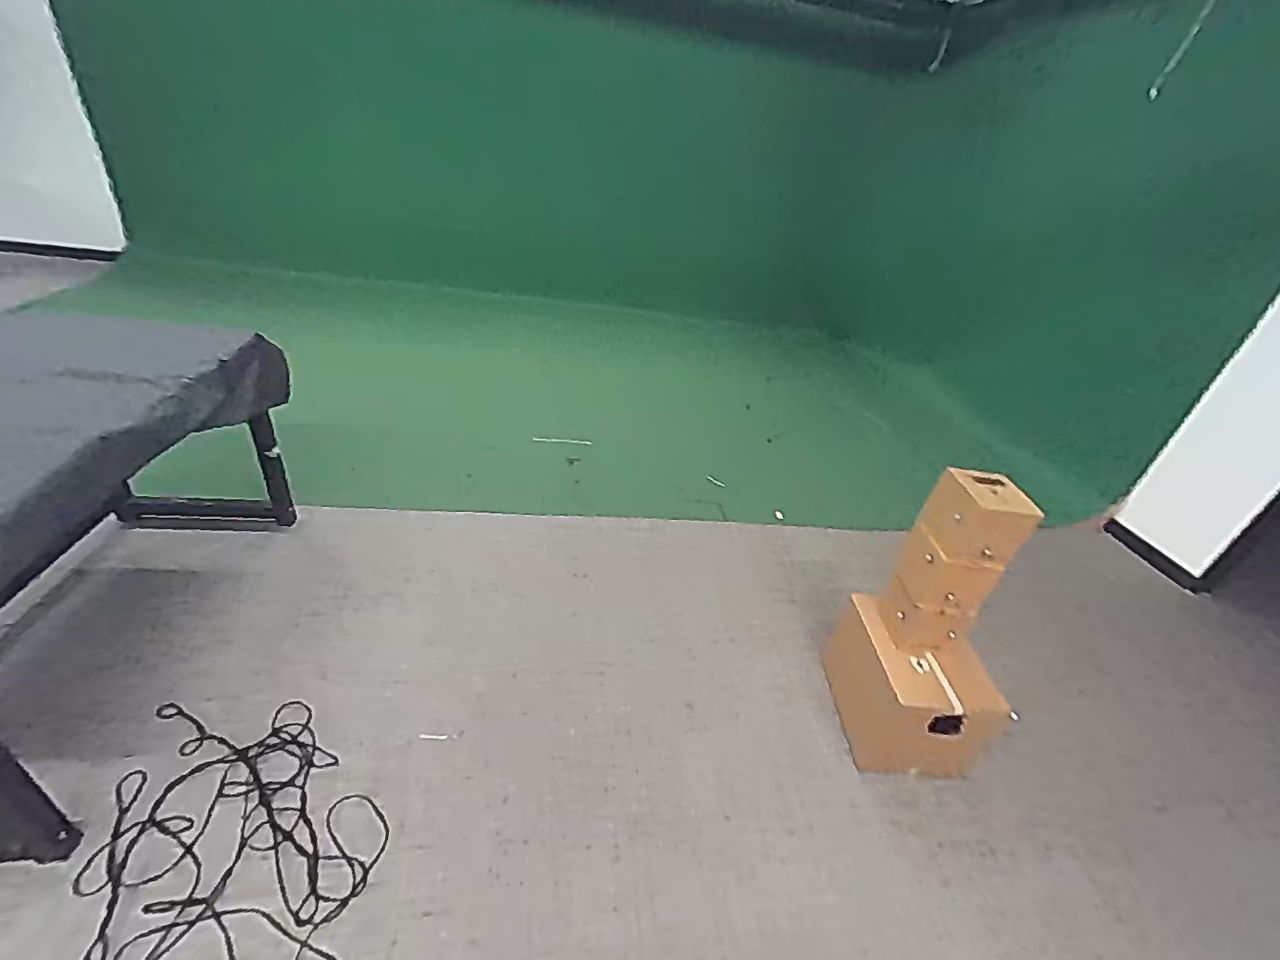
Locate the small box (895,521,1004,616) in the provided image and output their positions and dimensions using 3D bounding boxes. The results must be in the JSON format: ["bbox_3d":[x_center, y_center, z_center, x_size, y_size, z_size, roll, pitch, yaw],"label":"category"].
[{"bbox_3d":[0.825,0.240,1.466,0.168,0.176,0.179,9,33,-3],"label":"small box"}]

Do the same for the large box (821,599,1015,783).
[{"bbox_3d":[0.790,0.621,1.619,0.320,0.320,0.408,6,33,-4],"label":"large box"}]

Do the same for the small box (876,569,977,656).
[{"bbox_3d":[0.809,0.380,1.547,0.168,0.176,0.179,8,31,-5],"label":"small box"}]
